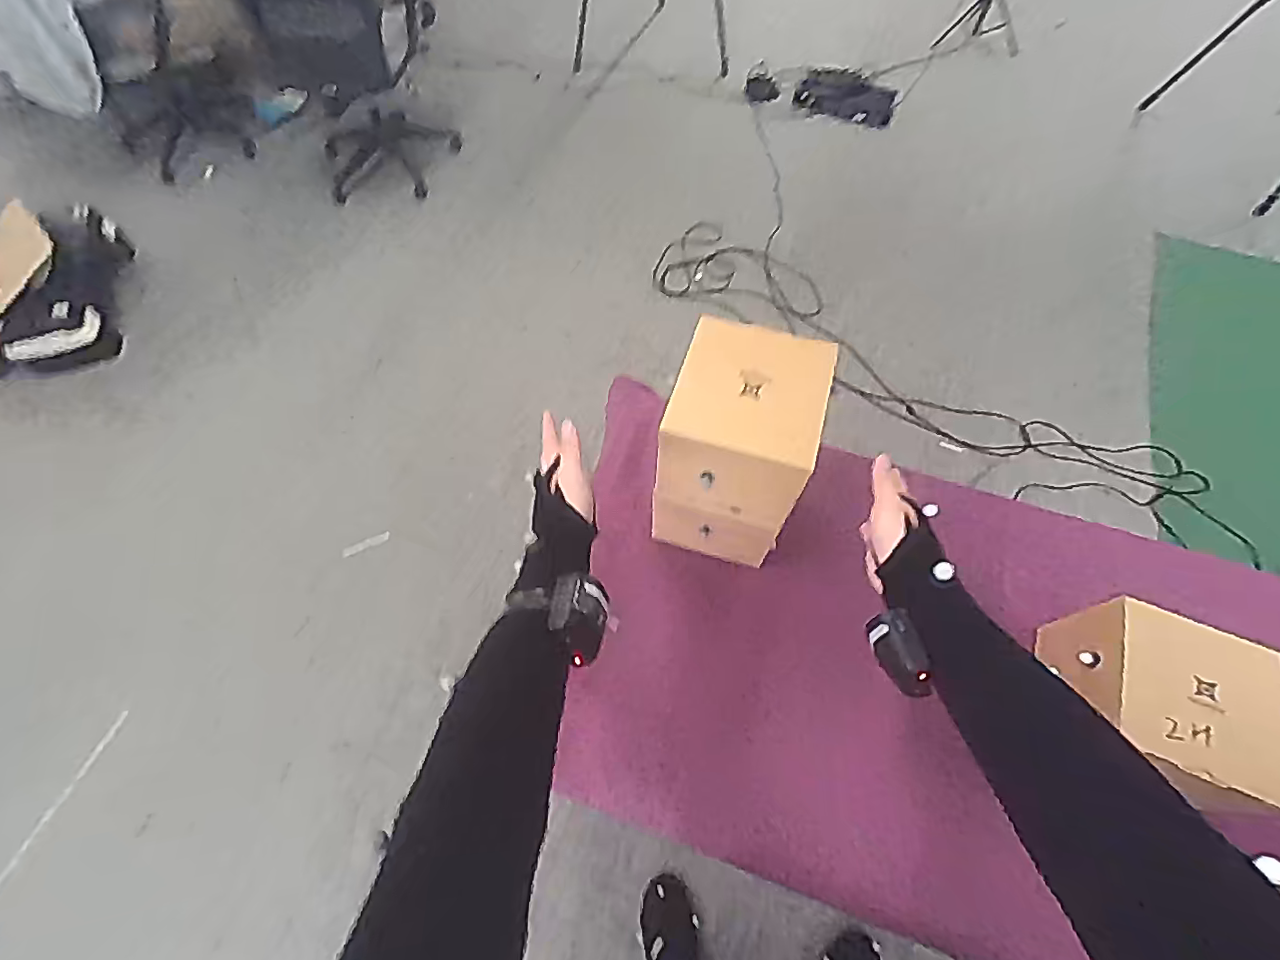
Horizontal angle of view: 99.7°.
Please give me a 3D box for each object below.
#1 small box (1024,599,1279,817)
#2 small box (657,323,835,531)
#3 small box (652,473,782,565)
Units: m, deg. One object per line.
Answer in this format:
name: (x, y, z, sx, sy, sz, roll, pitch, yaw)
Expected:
small box: (0.611, 0.277, 0.663, 0.168, 0.176, 0.179, 22, 64, 13)
small box: (0.124, -0.058, 0.668, 0.168, 0.176, 0.179, 15, 62, 9)
small box: (0.123, 0.013, 0.813, 0.179, 0.176, 0.168, 15, 63, 9)
